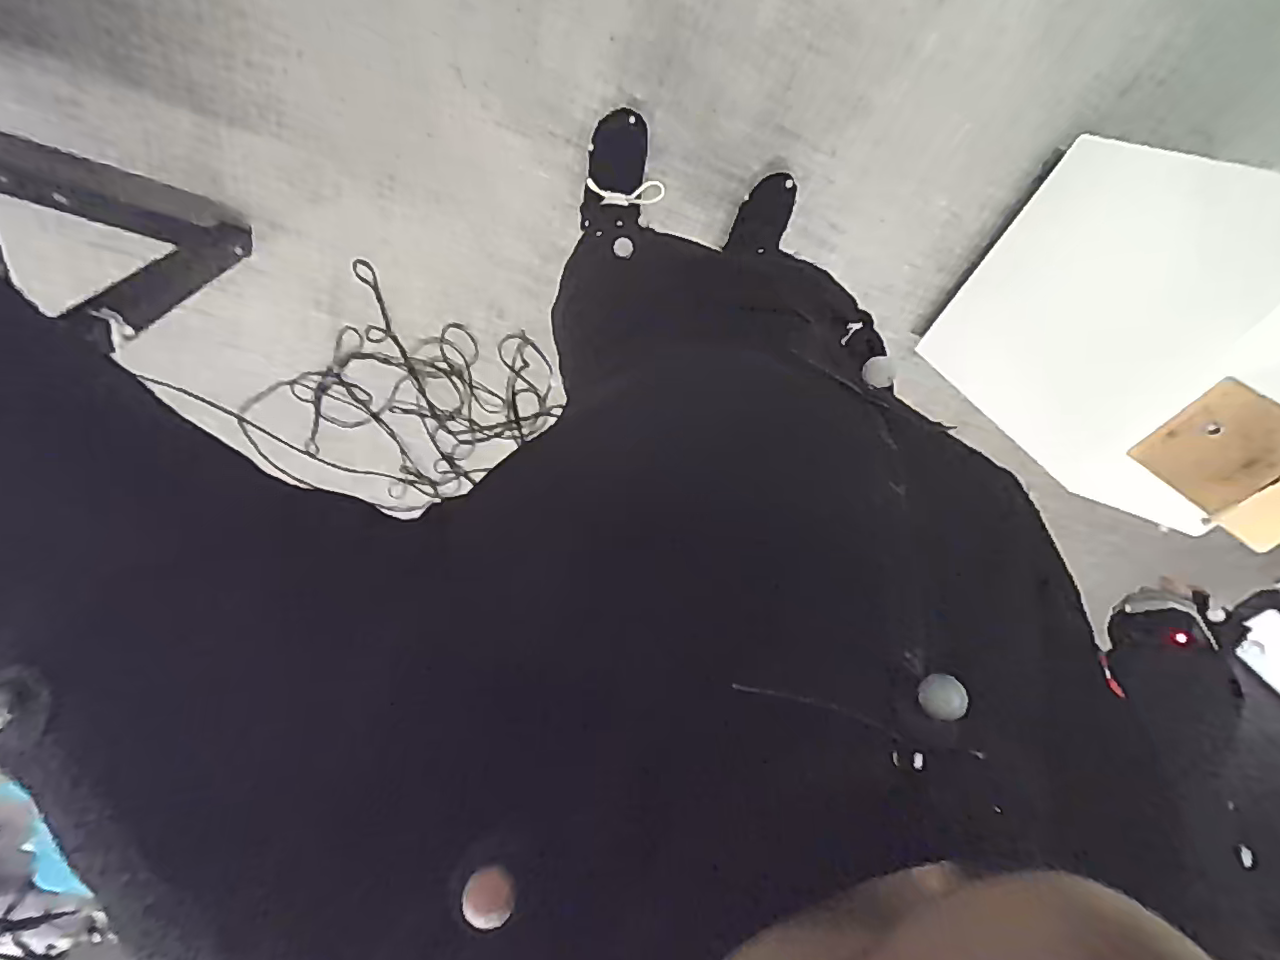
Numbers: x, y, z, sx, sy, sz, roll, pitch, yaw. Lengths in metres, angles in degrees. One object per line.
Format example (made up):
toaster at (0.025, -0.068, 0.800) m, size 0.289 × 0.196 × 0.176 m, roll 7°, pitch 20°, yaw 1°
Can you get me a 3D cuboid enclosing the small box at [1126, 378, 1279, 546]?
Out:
small box at (0.930, -0.030, 0.837) m, size 0.179 × 0.176 × 0.168 m, roll 21°, pitch 124°, yaw -23°
